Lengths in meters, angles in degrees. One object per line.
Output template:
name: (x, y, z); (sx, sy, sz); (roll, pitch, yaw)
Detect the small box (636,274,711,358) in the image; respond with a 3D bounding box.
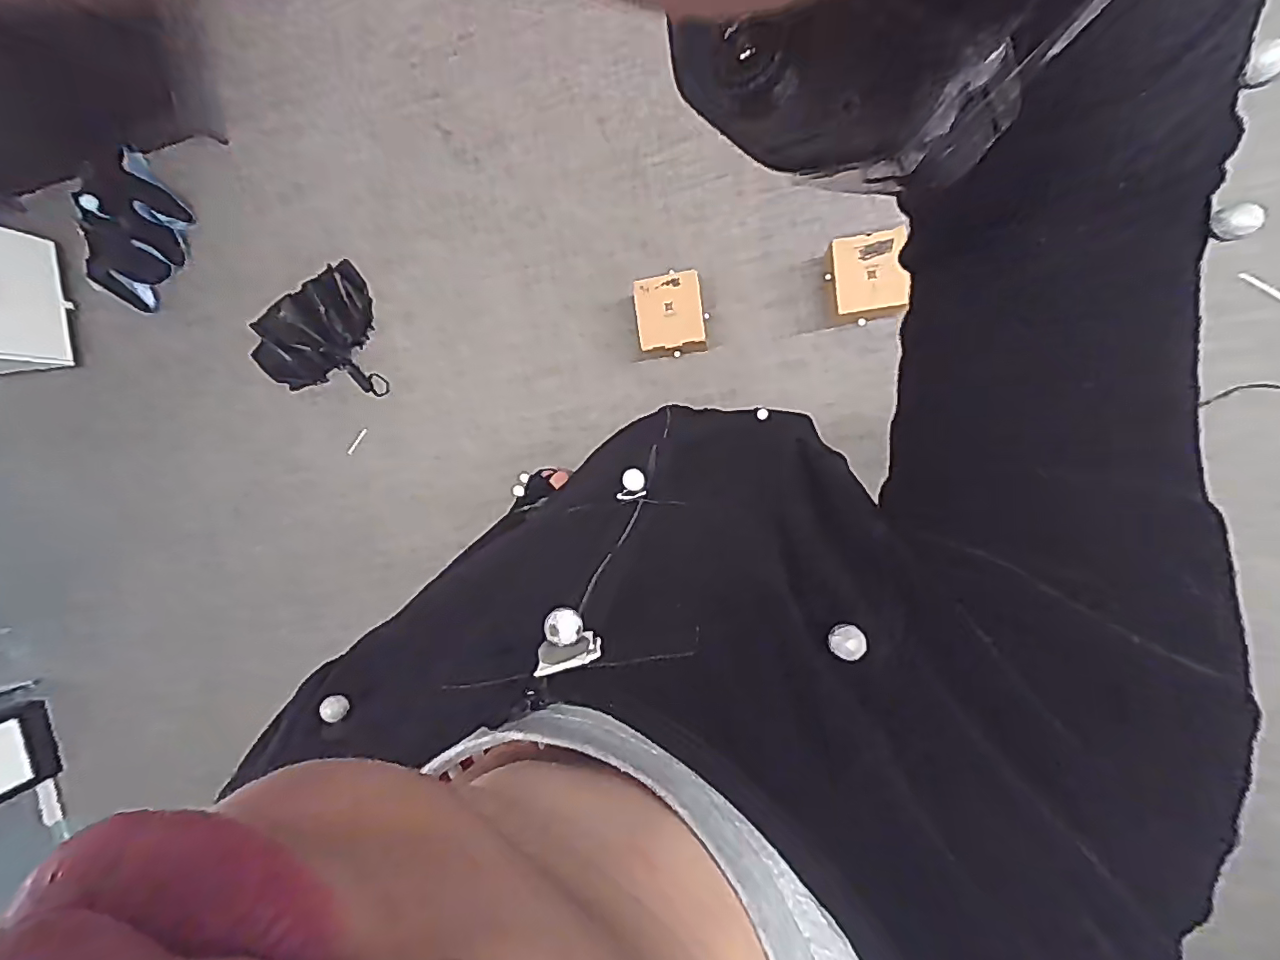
small box: (0.093, -0.422, 1.426); (0.168, 0.176, 0.179); (-7, 94, 10)

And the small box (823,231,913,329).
small box: (0.557, -0.487, 1.338); (0.168, 0.176, 0.179); (-7, 95, 11)
